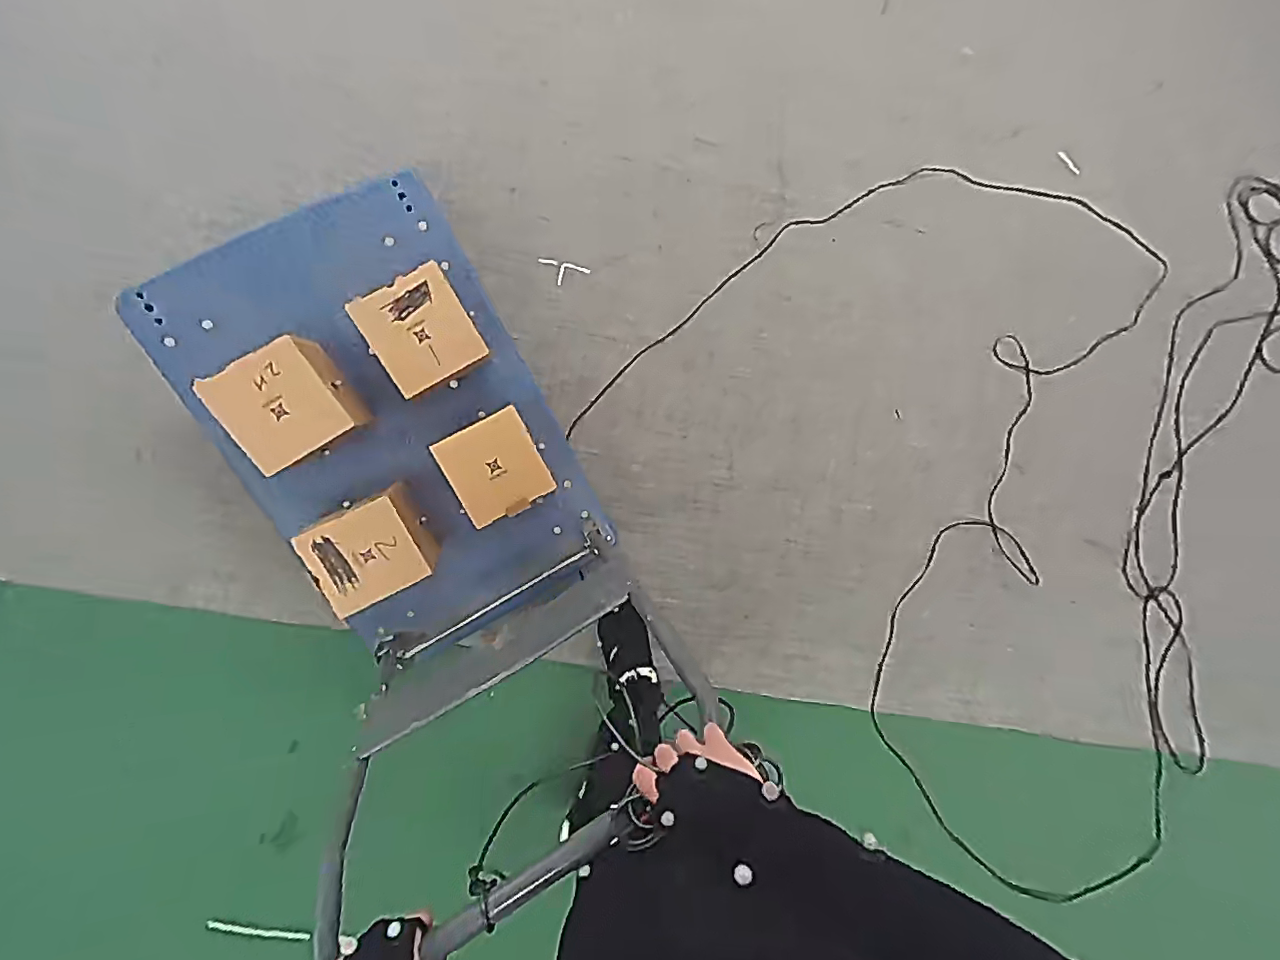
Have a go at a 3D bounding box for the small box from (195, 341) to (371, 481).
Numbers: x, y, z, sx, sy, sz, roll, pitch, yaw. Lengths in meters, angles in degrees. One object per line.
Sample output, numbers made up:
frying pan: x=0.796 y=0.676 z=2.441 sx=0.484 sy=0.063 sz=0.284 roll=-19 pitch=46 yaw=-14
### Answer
small box: x=-0.609 y=-0.123 z=0.954 sx=0.168 sy=0.176 sz=0.179 roll=-34 pitch=105 yaw=-8

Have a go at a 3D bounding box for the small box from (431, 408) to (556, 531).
small box: x=-0.284 y=-0.028 z=1.056 sx=0.168 sy=0.176 sz=0.179 roll=-29 pitch=105 yaw=-9

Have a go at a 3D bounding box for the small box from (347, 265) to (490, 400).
small box: x=-0.392 y=-0.258 z=0.989 sx=0.168 sy=0.176 sz=0.179 roll=-32 pitch=105 yaw=-8
